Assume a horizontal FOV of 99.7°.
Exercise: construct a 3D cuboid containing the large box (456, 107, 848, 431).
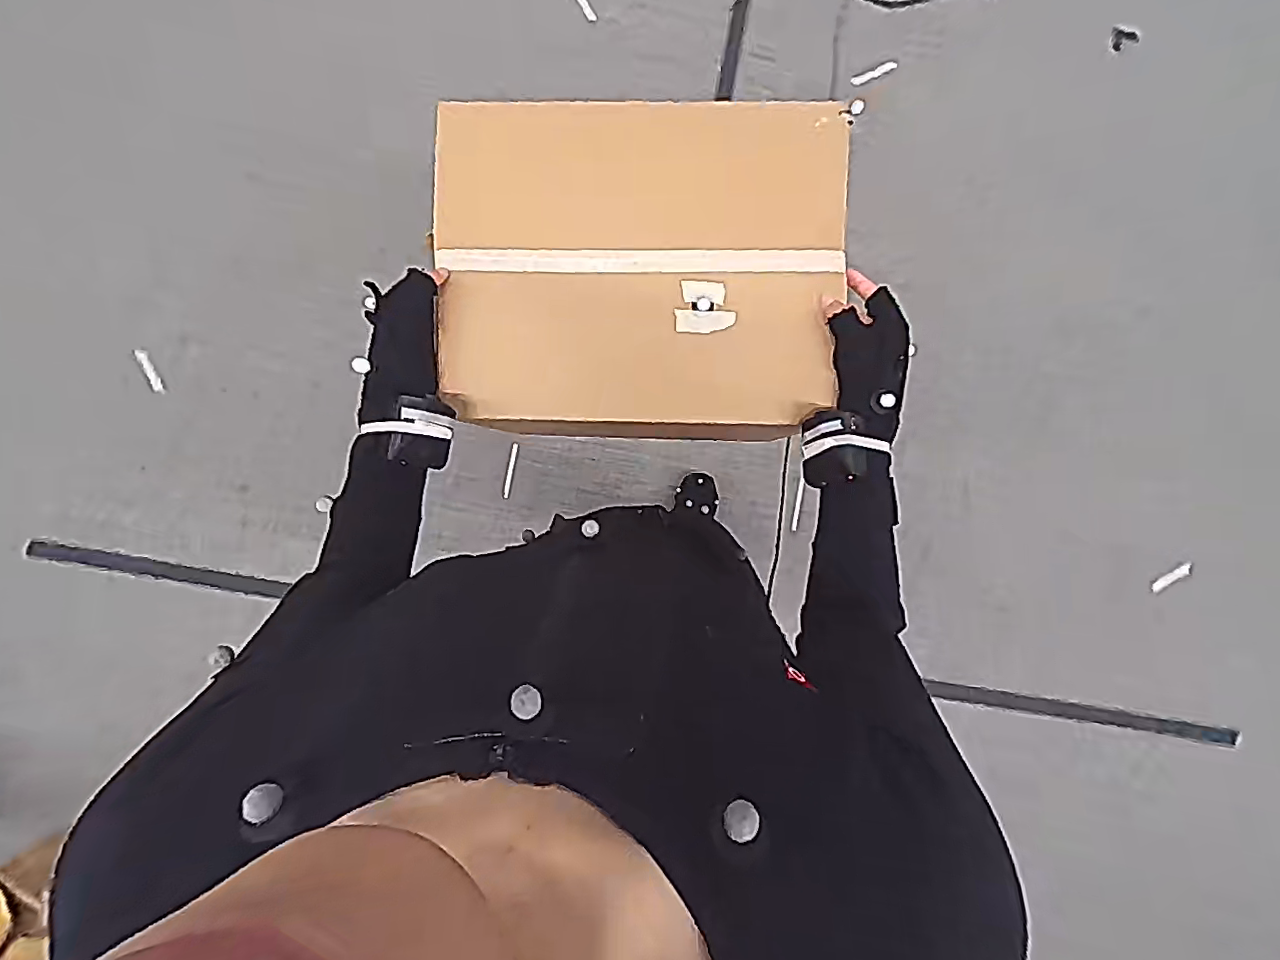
[{"bbox_3d":[0.011,-0.229,0.703,0.408,0.320,0.320,2,92,1],"label":"large box"}]
